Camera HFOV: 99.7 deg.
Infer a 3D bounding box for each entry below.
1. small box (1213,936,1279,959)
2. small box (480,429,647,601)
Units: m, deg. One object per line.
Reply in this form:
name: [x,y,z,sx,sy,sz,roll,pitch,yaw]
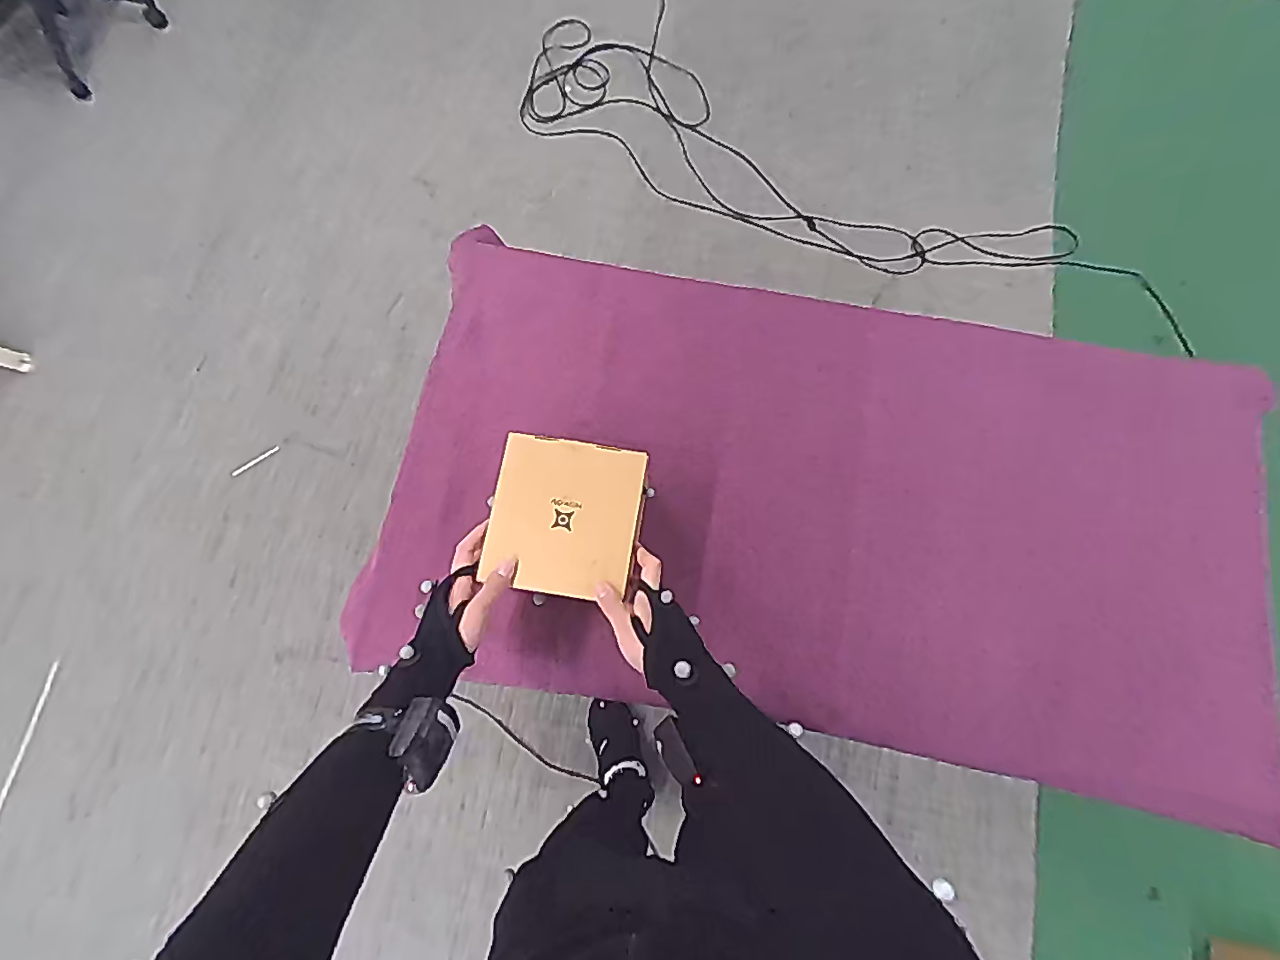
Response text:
small box: [1.410,1.135,1.165,0.179,0.176,0.168,11,77,4]
small box: [-0.082,0.053,0.683,0.168,0.176,0.179,8,77,2]
